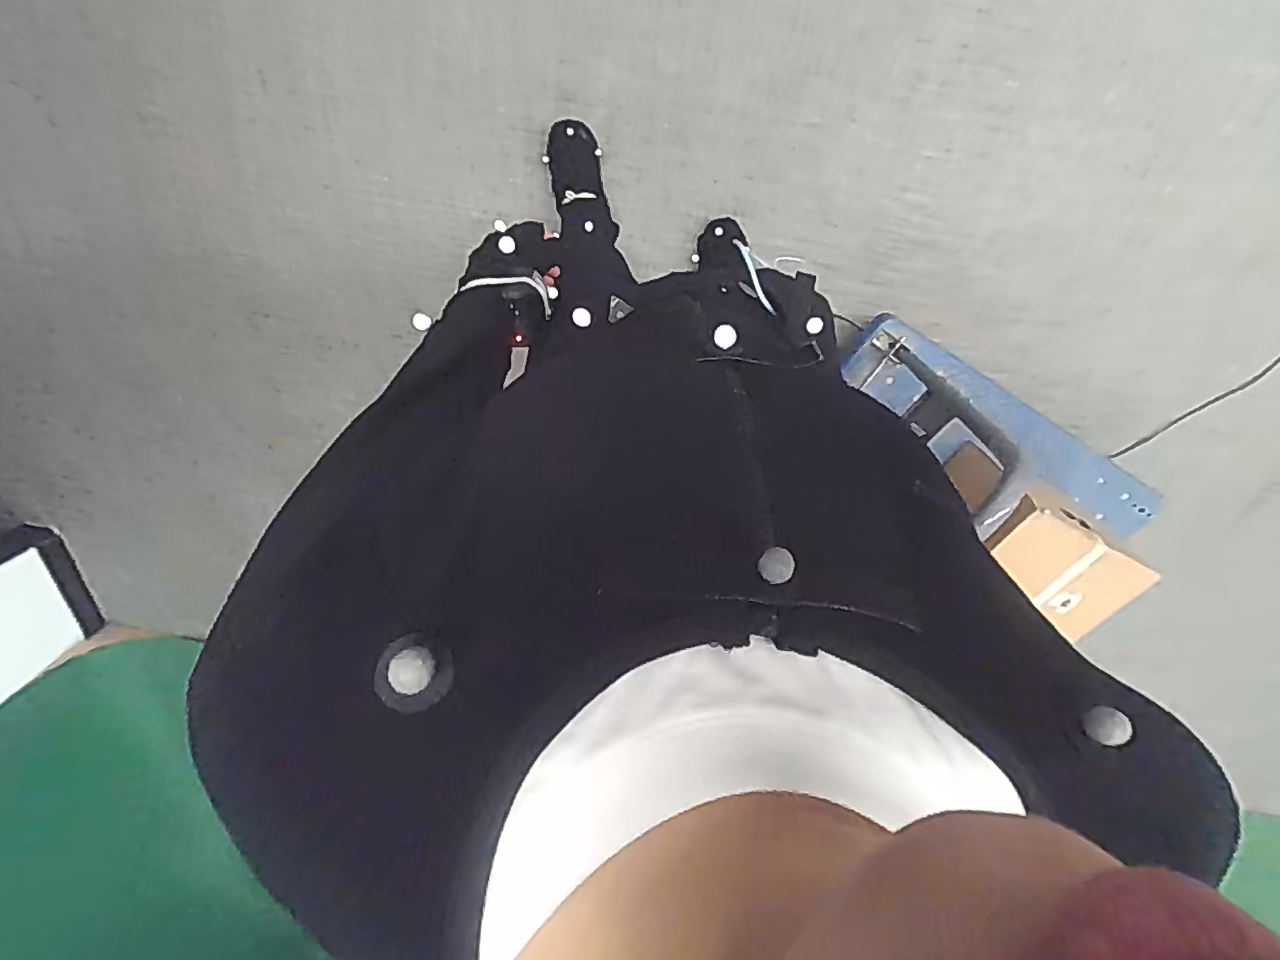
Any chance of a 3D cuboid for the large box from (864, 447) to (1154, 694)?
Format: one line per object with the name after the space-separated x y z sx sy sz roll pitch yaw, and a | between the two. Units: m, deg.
0.797 0.202 1.251 0.320 0.320 0.408 25 117 -8 | large box
